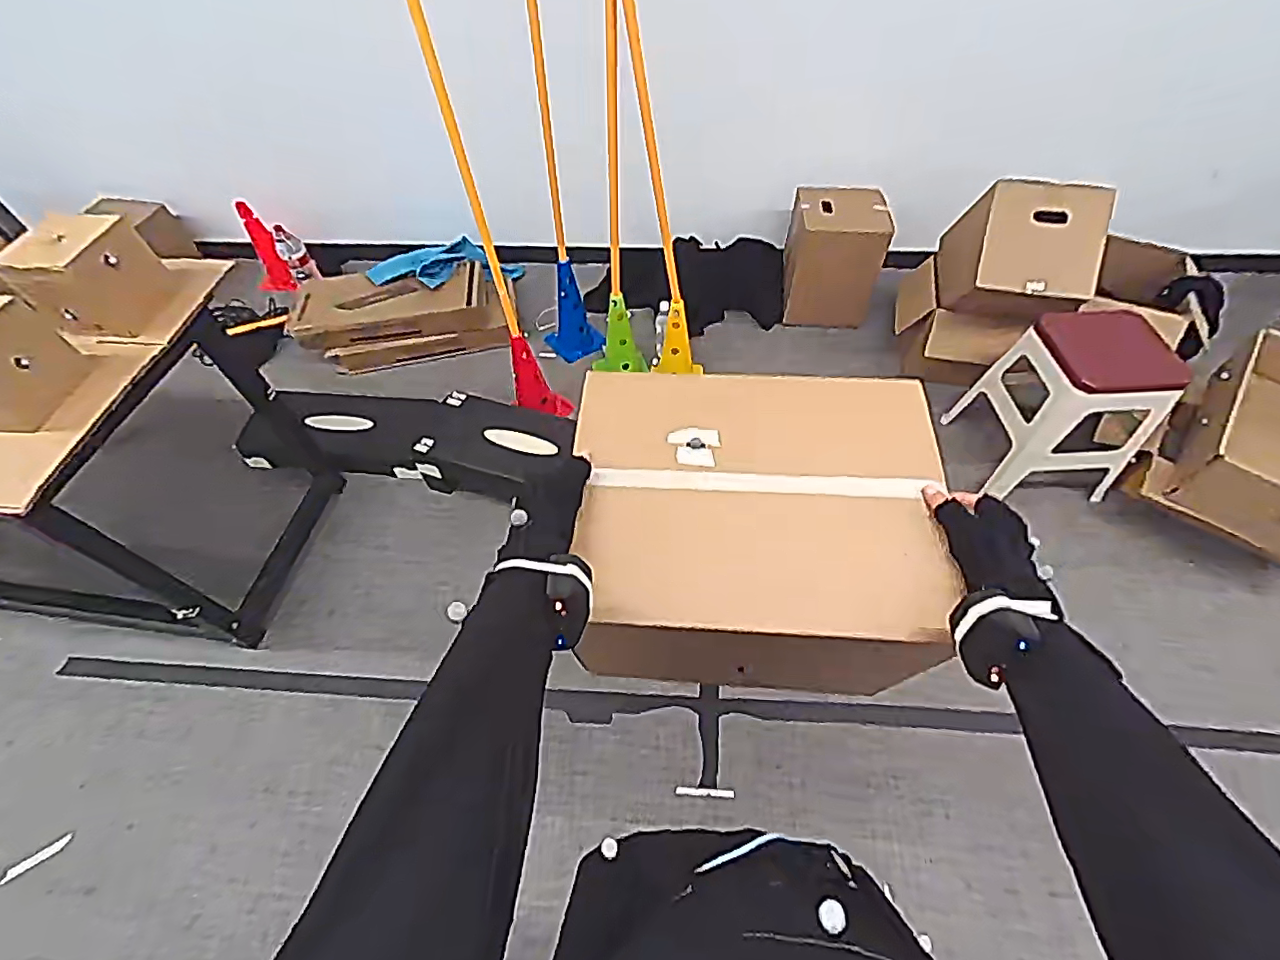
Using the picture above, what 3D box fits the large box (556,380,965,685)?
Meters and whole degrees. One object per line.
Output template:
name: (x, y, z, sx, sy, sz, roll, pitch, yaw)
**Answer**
large box: (0.134, 0.084, 0.728, 0.408, 0.320, 0.320, 2, 60, 6)
